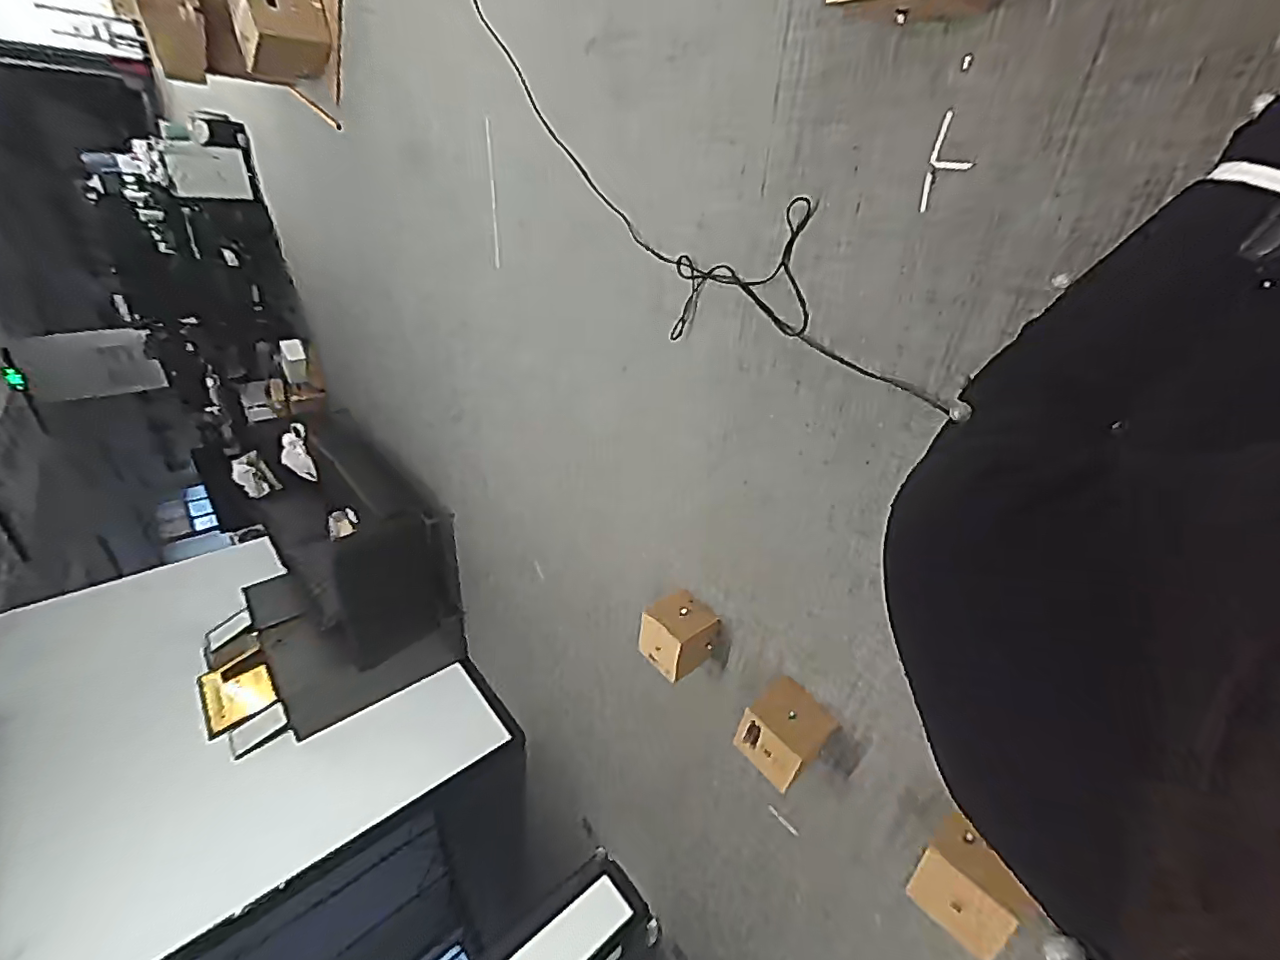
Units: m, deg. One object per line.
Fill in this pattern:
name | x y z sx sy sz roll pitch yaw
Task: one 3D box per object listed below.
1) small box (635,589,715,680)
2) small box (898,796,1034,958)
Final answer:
small box | 0.109 0.468 1.666 0.168 0.176 0.179 35 131 38
small box | 0.667 0.797 1.104 0.168 0.176 0.179 32 130 41
